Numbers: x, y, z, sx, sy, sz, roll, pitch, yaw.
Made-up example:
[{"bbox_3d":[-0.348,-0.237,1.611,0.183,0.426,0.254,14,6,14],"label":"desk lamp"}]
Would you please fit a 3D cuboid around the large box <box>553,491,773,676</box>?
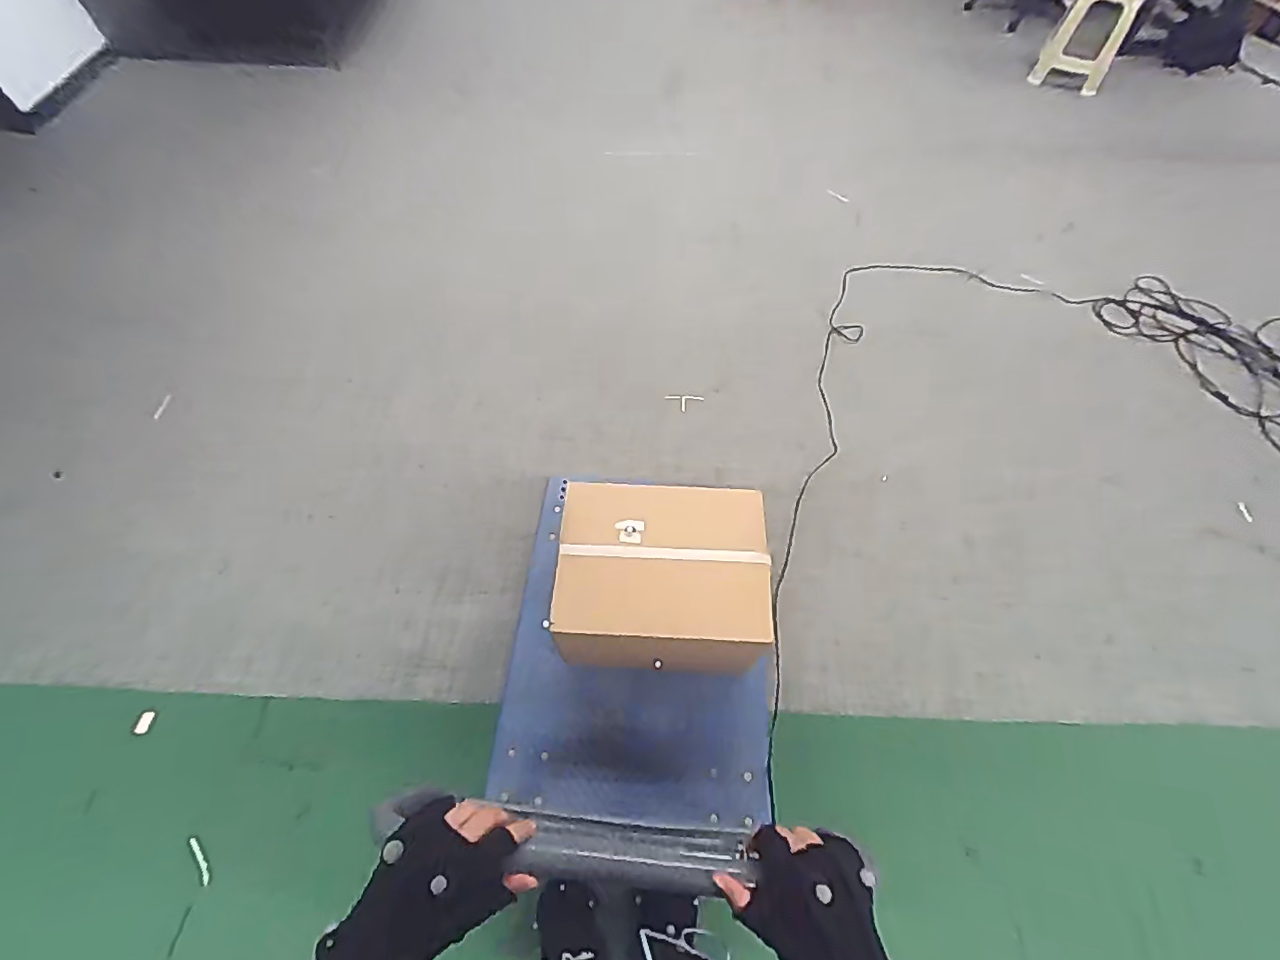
[{"bbox_3d":[0.048,0.235,1.172,0.408,0.320,0.320,2,58,1],"label":"large box"}]
